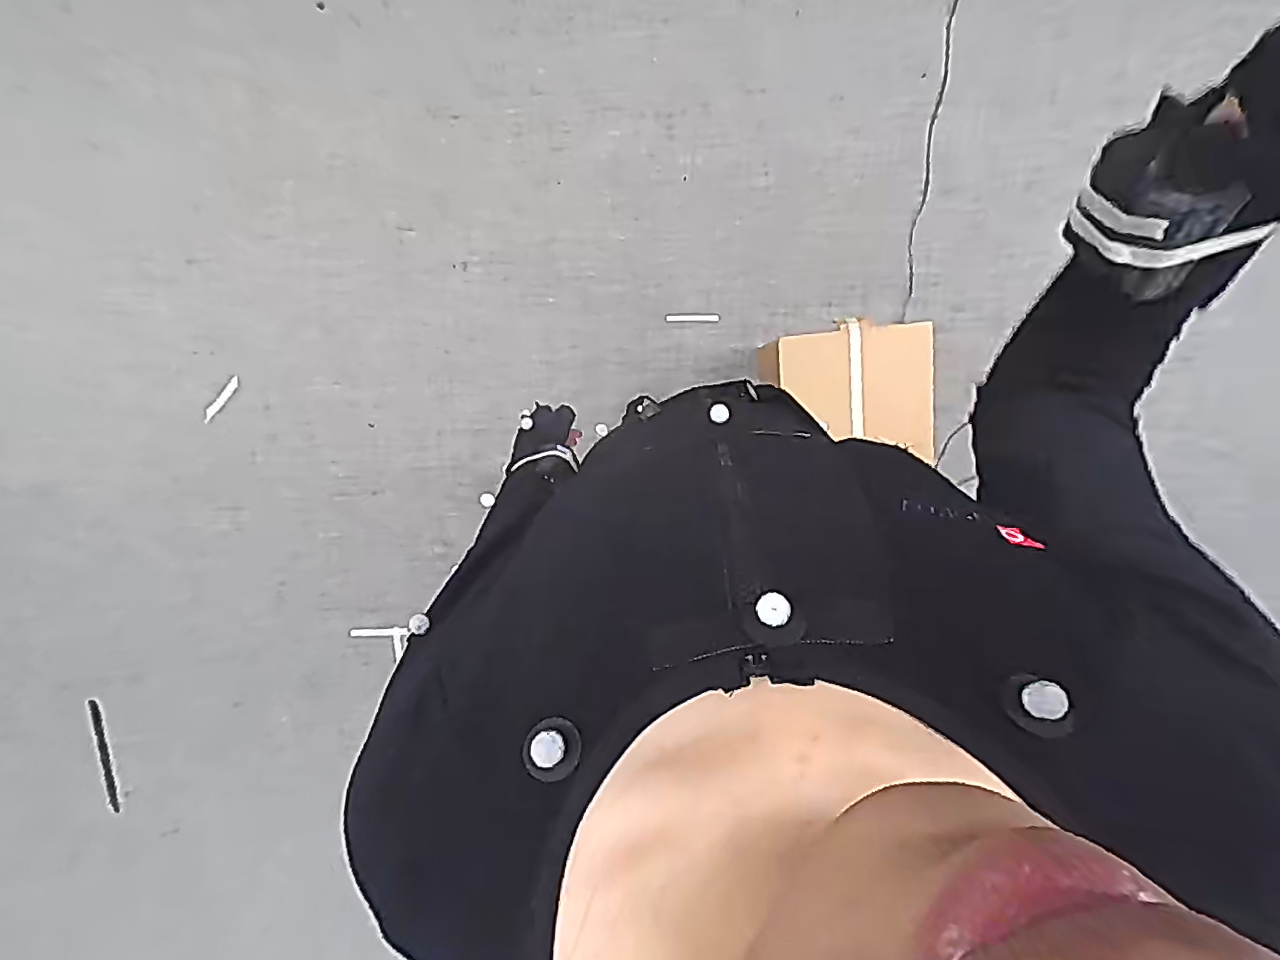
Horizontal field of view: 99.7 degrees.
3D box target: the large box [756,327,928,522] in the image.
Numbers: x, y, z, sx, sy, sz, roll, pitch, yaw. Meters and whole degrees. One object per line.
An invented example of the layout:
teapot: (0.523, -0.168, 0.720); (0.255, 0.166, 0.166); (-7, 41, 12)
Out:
large box: (0.473, -0.141, 1.318); (0.320, 0.320, 0.408); (-5, 101, 5)
